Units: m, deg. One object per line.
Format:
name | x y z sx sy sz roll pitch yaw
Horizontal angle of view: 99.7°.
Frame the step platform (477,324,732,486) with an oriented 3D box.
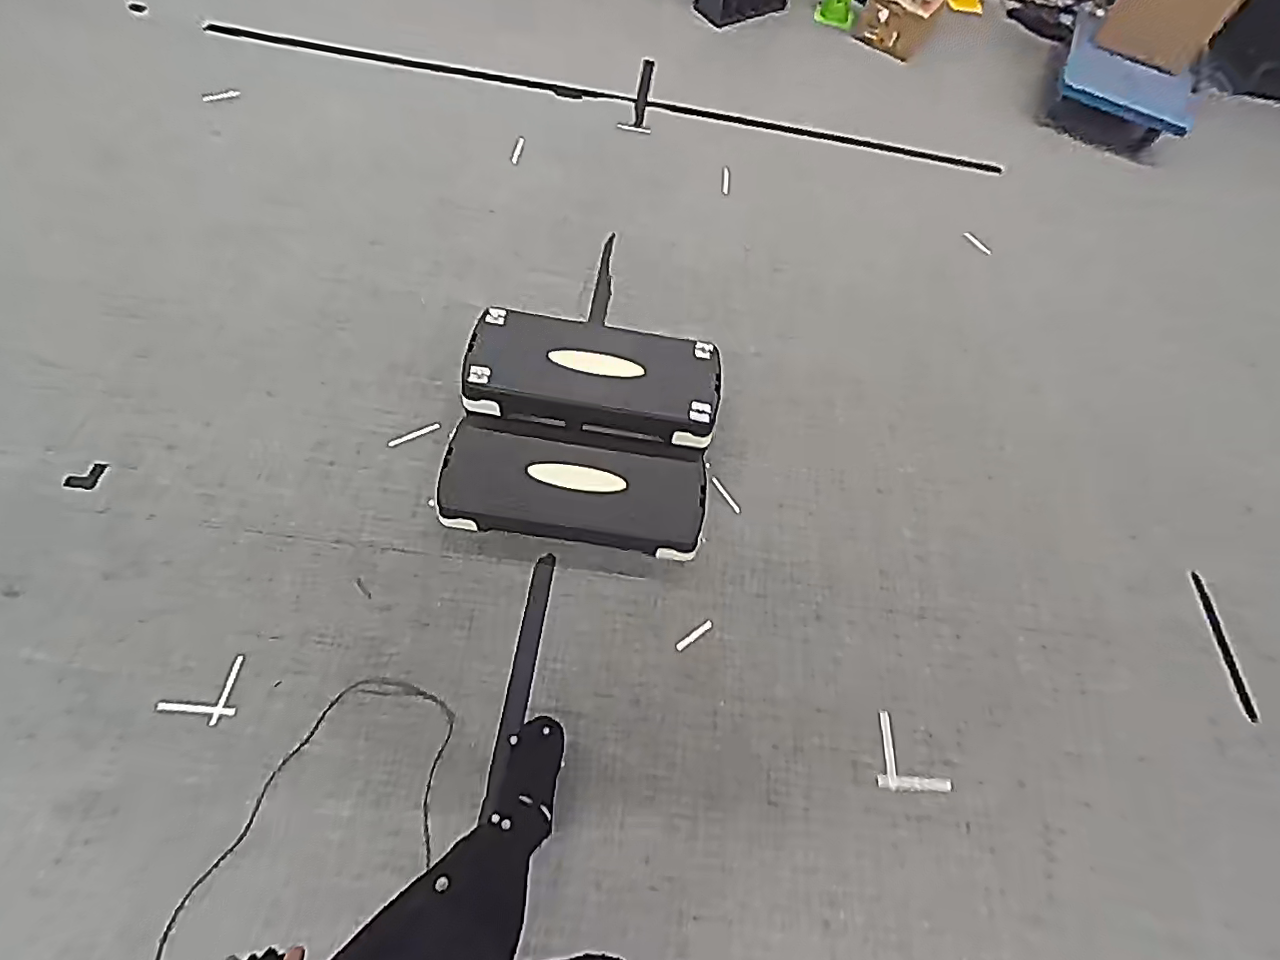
step platform | -0.091 -0.208 1.498 0.684 0.204 0.286 13 61 -1
